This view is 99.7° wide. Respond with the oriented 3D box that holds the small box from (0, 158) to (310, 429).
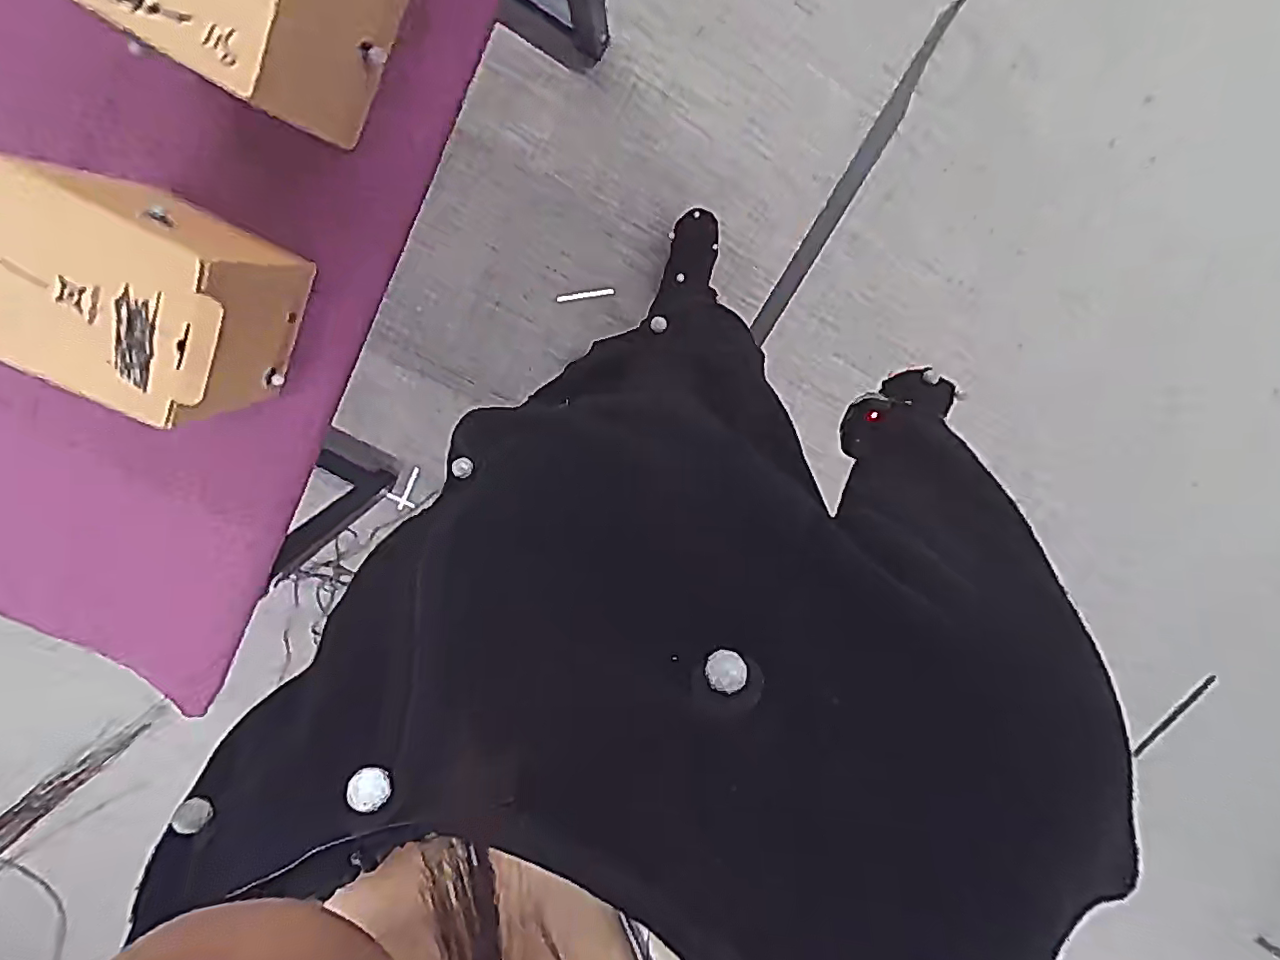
[{"bbox_3d":[-0.467,-0.176,0.529,0.179,0.176,0.168,26,107,-9],"label":"small box"}]
